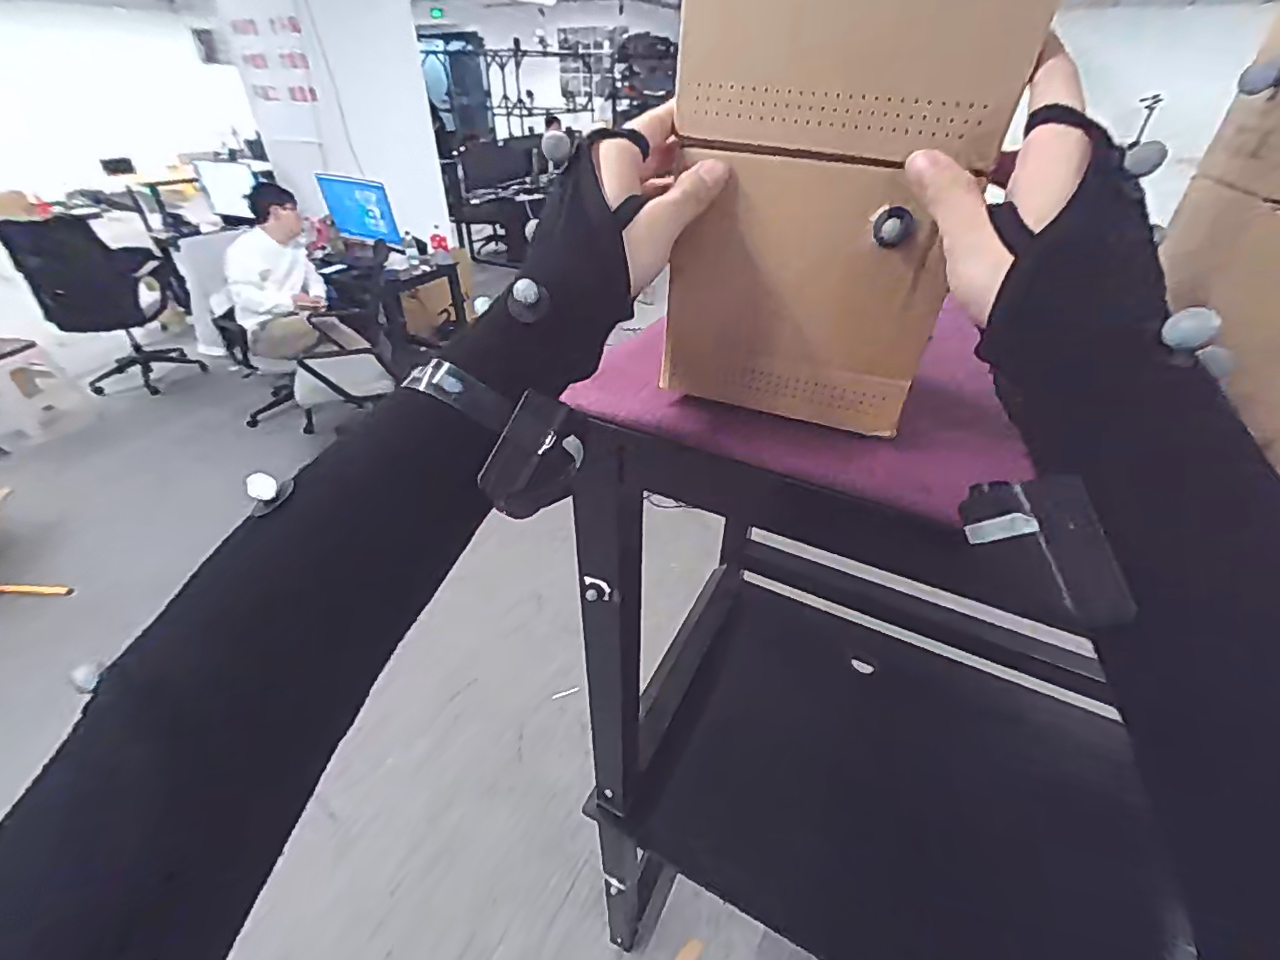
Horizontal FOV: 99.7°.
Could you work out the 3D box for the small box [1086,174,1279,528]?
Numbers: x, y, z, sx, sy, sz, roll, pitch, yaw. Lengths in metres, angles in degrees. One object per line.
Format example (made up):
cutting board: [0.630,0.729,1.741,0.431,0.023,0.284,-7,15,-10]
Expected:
small box: [0.405,-0.077,0.325,0.179,0.176,0.168,20,40,25]
